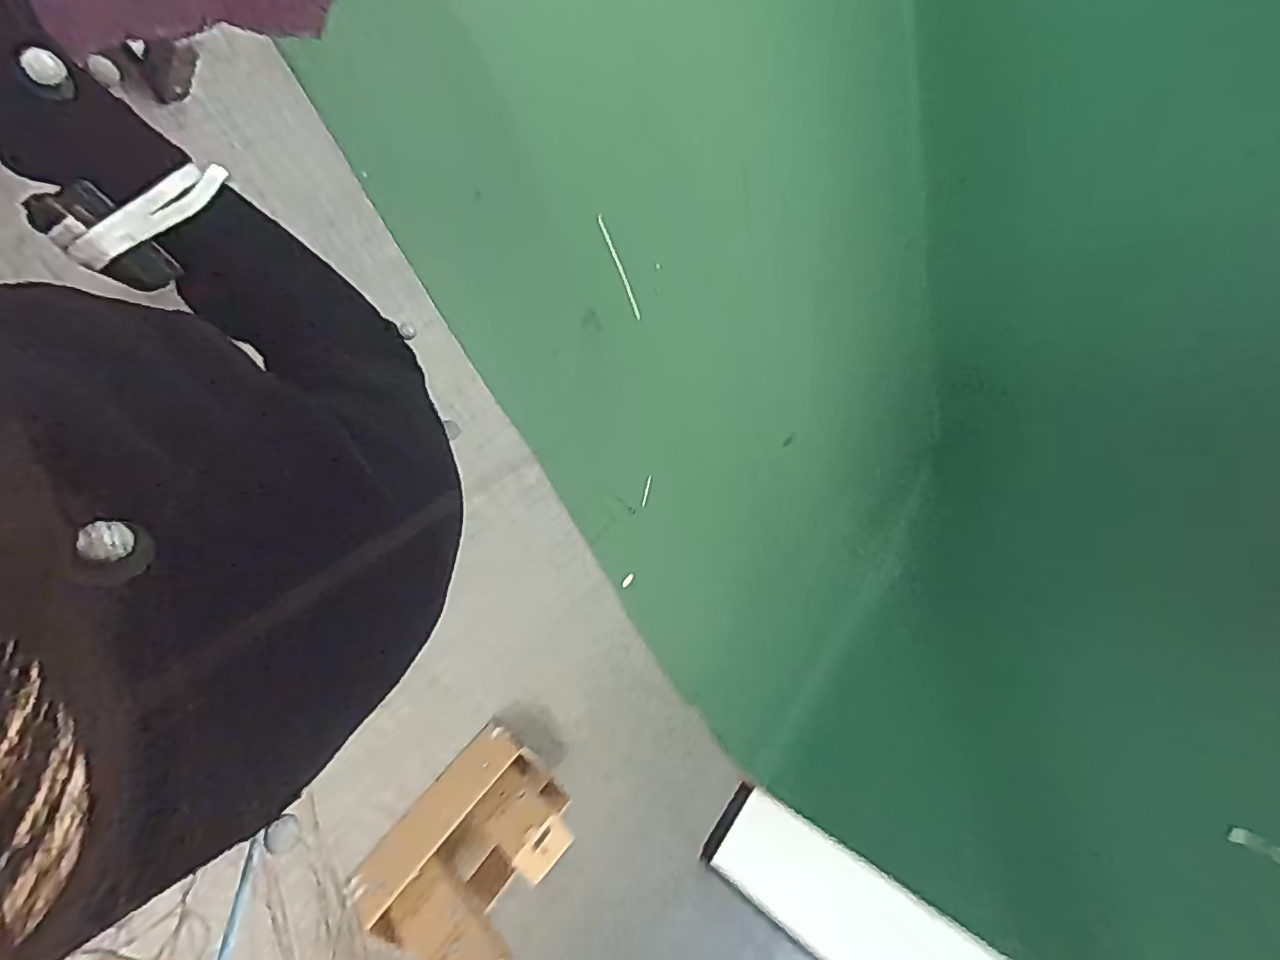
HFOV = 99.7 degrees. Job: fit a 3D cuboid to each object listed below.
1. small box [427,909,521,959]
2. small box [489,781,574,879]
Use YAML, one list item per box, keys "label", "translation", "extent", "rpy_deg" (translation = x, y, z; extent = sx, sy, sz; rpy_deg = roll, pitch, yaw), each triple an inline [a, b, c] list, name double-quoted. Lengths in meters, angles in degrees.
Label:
- label: "small box"
  translation: [-0.437, 1.307, 1.448]
  extent: [0.168, 0.176, 0.179]
  rpy_deg: [-44, 127, -28]
- label: "small box"
  translation: [-0.346, 1.091, 1.704]
  extent: [0.168, 0.176, 0.179]
  rpy_deg: [-40, 127, -29]
